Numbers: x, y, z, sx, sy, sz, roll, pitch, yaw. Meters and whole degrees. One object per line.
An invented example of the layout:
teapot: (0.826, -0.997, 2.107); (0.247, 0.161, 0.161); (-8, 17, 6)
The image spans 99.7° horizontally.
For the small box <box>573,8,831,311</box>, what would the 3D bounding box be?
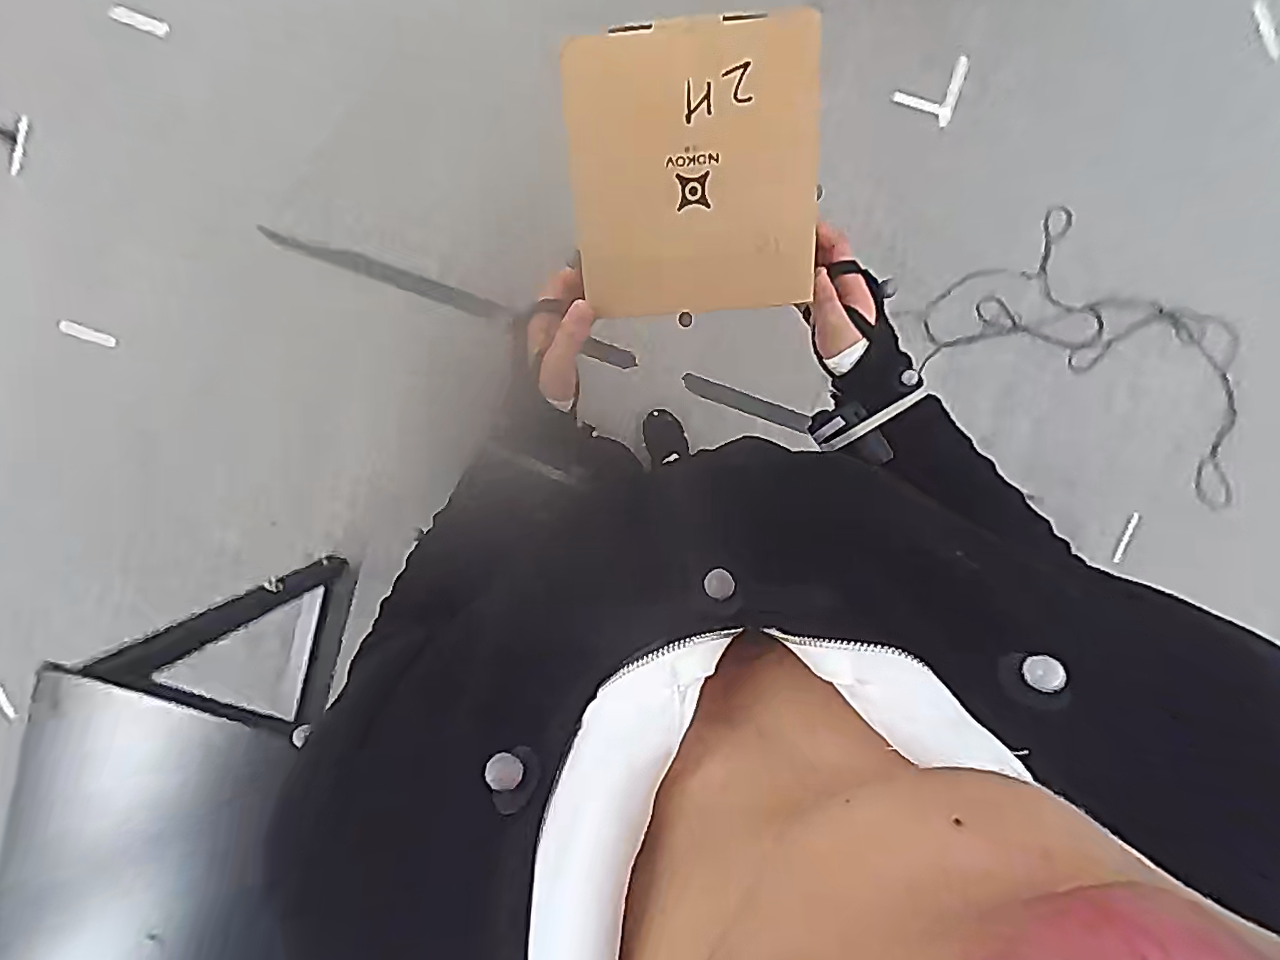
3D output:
small box: (0.044, -0.236, 0.442); (0.168, 0.176, 0.179); (-2, 109, 2)

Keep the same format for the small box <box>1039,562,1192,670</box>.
small box: (1.109, 0.310, 1.276); (0.179, 0.176, 0.168); (23, 95, -1)
